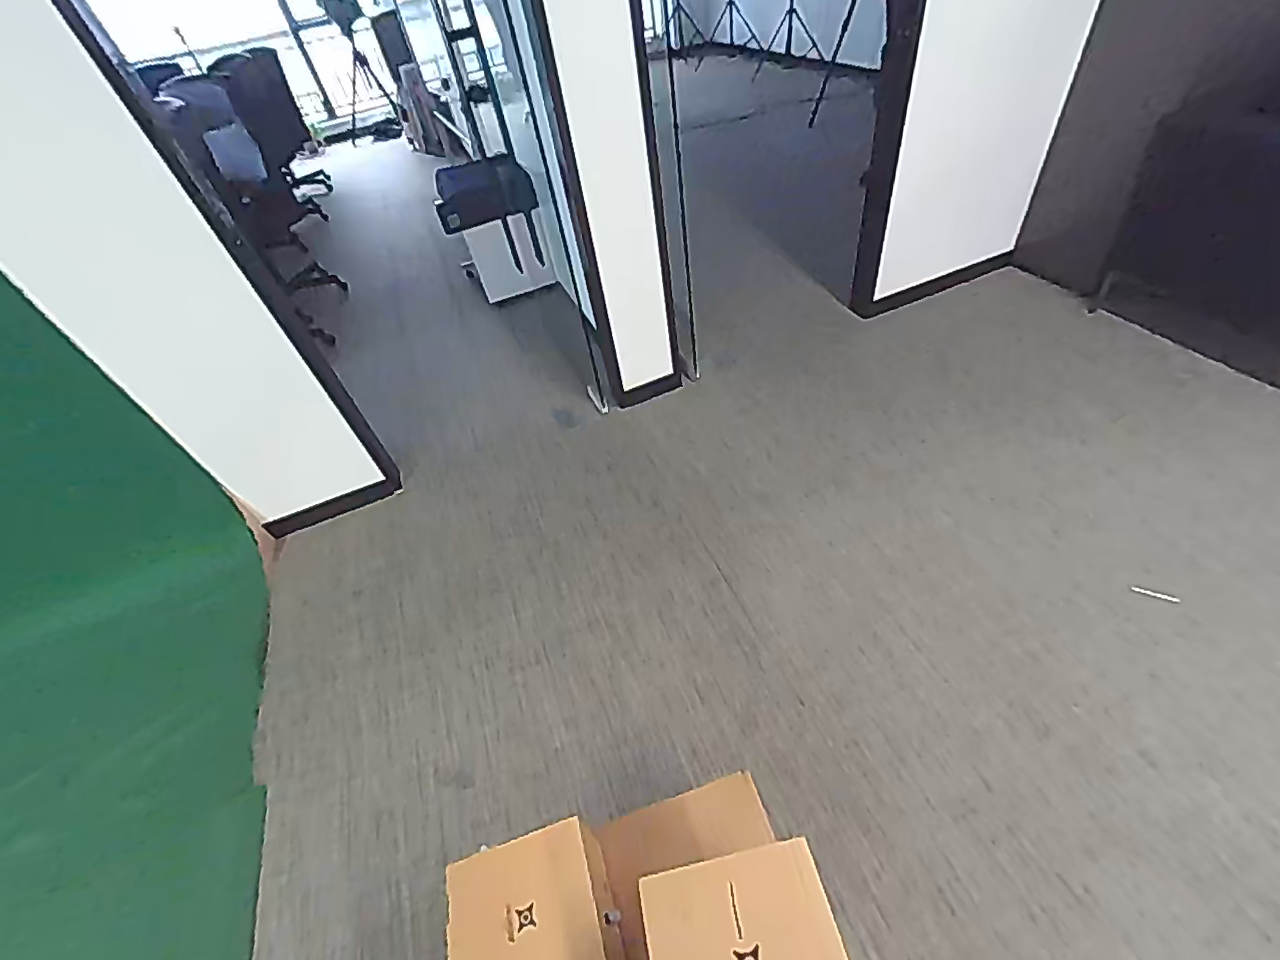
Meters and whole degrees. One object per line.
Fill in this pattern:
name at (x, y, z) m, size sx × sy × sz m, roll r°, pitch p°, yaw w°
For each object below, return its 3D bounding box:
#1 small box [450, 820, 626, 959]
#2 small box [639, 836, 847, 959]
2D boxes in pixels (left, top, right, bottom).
small box at (-0.123, 0.569, 0.688) m, size 0.179 × 0.176 × 0.168 m, roll -18°, pitch 45°, yaw -6°
small box at (0.104, 0.469, 0.505) m, size 0.168 × 0.176 × 0.179 m, roll -13°, pitch 43°, yaw -2°
